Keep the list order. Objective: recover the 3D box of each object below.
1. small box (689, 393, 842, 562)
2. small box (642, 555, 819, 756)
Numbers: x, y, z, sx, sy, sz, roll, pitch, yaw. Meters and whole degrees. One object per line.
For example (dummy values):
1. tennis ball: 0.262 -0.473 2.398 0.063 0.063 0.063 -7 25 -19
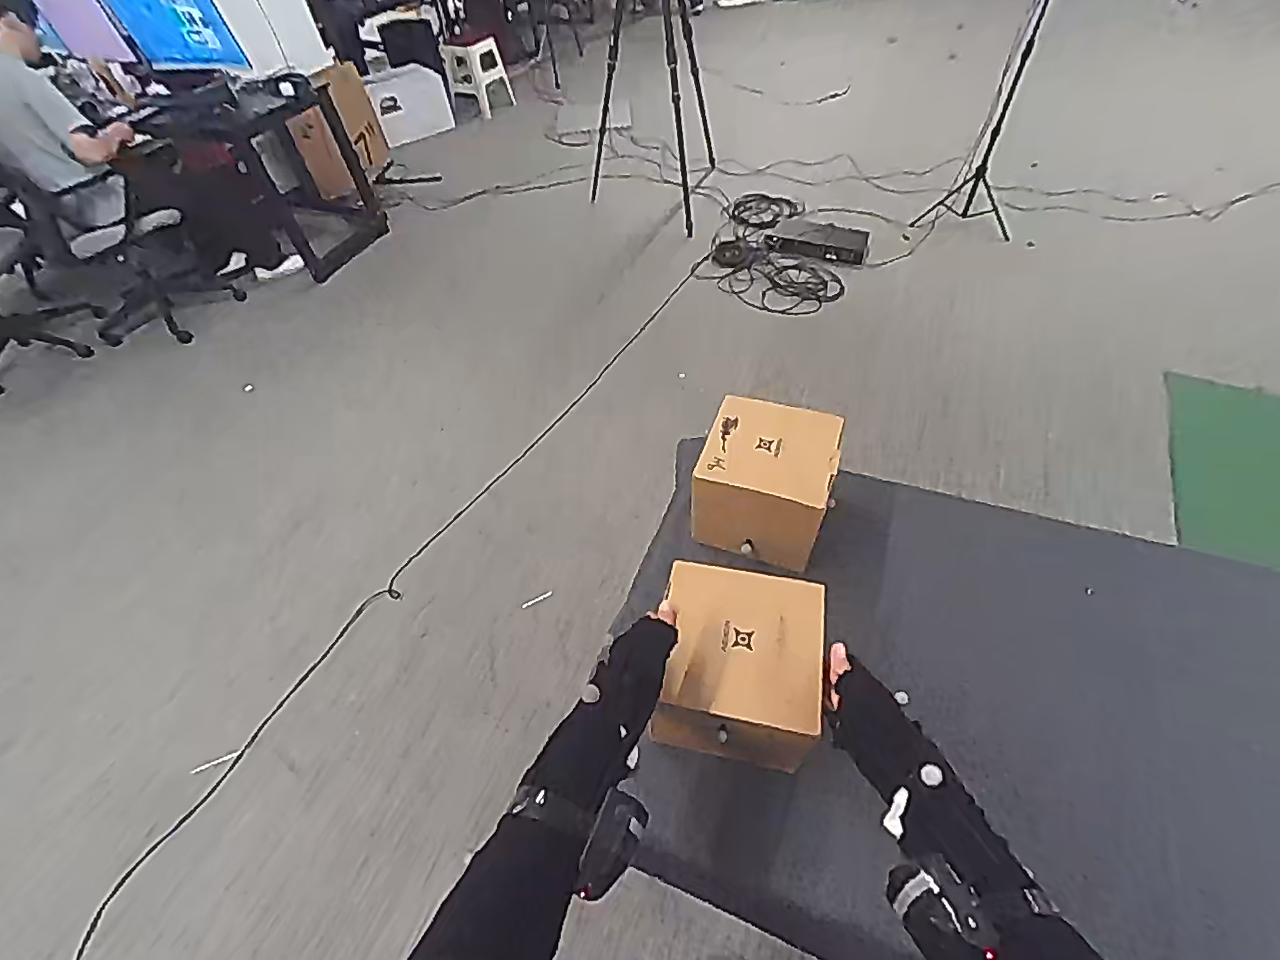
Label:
1. small box: 0.181 0.001 0.809 0.179 0.176 0.168 16 55 16
2. small box: 0.107 0.214 0.648 0.179 0.176 0.168 9 54 9
